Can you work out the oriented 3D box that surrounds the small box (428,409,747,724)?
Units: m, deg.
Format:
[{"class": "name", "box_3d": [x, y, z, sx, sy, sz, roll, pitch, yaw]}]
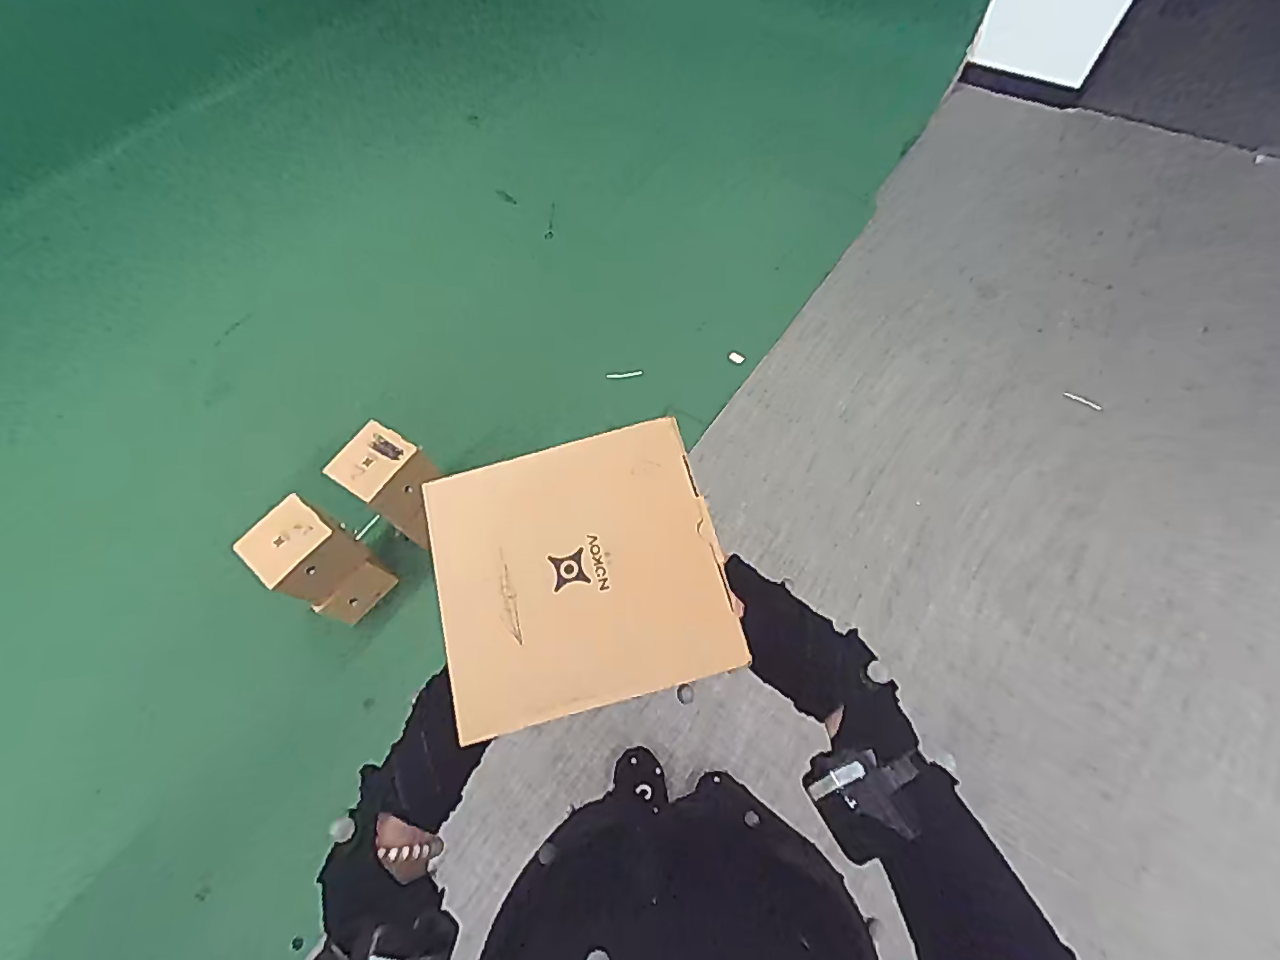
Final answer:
[{"class": "small box", "box_3d": [-0.035, 0.071, 0.413, 0.179, 0.176, 0.168, -15, 71, -1]}]

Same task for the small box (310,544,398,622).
[{"class": "small box", "box_3d": [-0.793, 0.260, 1.451, 0.179, 0.176, 0.168, 37, 71, 20]}]

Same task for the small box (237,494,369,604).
[{"class": "small box", "box_3d": [-0.807, 0.174, 1.310, 0.168, 0.176, 0.179, 36, 71, 20]}]
